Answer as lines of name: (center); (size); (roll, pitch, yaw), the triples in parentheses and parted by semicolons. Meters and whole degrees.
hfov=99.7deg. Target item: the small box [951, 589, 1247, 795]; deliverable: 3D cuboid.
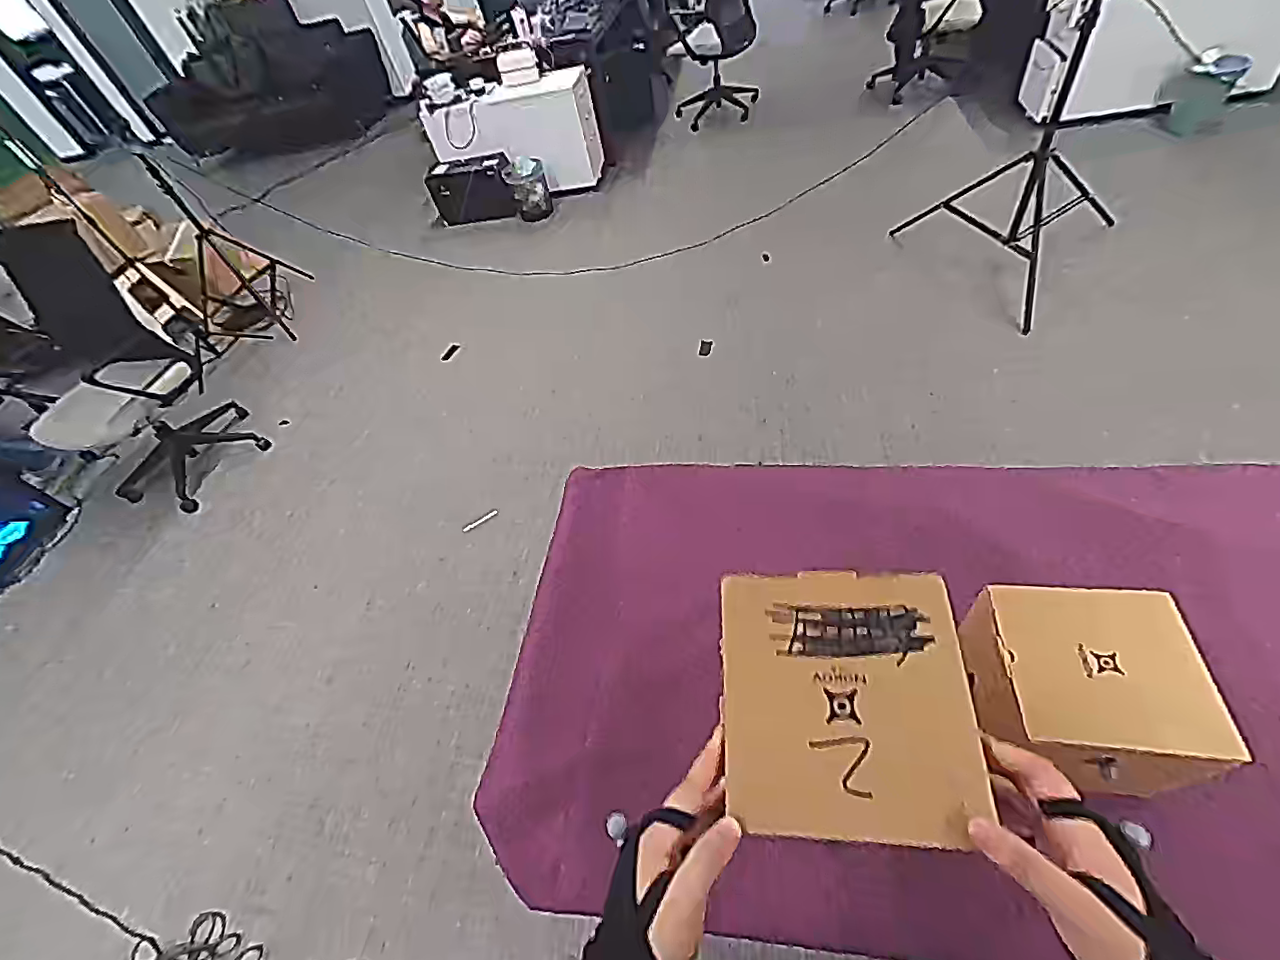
small box: (0.475, 0.236, 0.599); (0.179, 0.176, 0.168); (-1, 51, 14)

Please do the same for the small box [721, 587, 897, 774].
small box: (0.195, 0.245, 0.657); (0.179, 0.176, 0.168); (0, 51, 12)
